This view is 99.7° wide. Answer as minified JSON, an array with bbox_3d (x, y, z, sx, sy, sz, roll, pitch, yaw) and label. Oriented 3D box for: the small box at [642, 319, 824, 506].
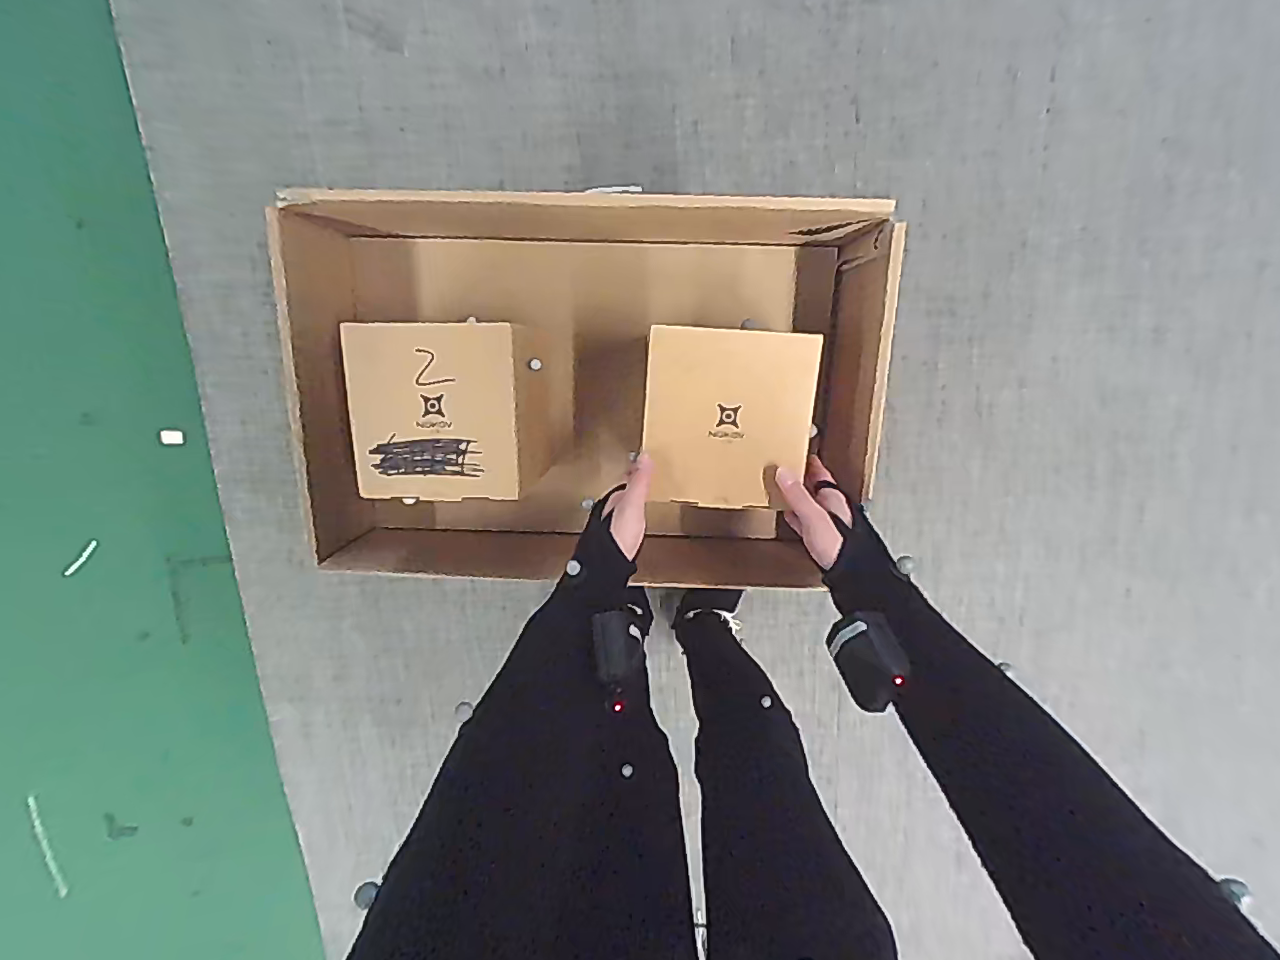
[{"bbox_3d":[0.089,-0.080,0.605,0.168,0.176,0.179,3,104,0],"label":"small box"}]
